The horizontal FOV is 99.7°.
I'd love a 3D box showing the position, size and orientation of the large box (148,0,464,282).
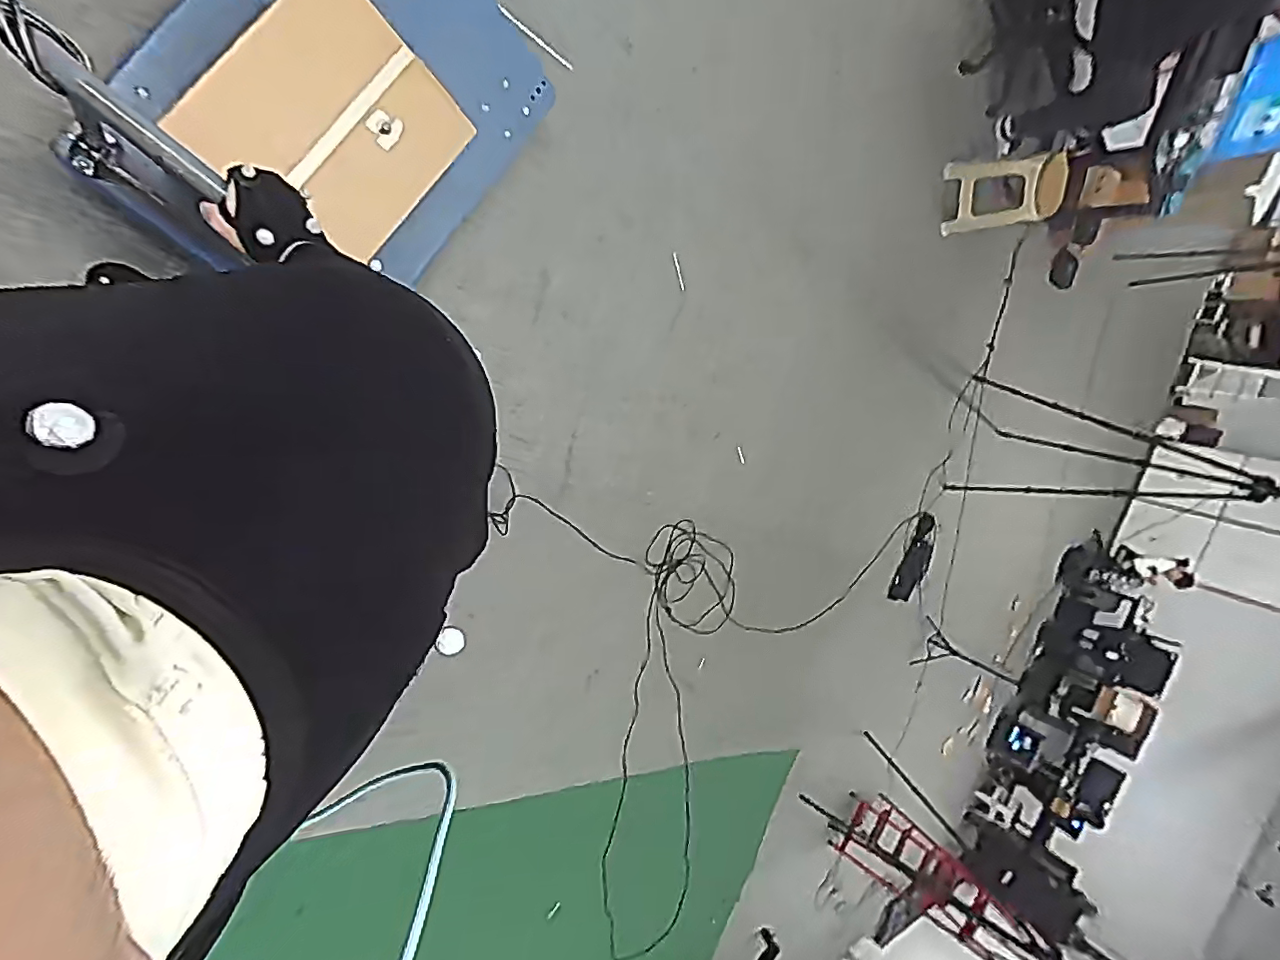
[{"bbox_3d":[-0.622,-0.637,1.028,0.320,0.320,0.408,42,78,-41],"label":"large box"}]
